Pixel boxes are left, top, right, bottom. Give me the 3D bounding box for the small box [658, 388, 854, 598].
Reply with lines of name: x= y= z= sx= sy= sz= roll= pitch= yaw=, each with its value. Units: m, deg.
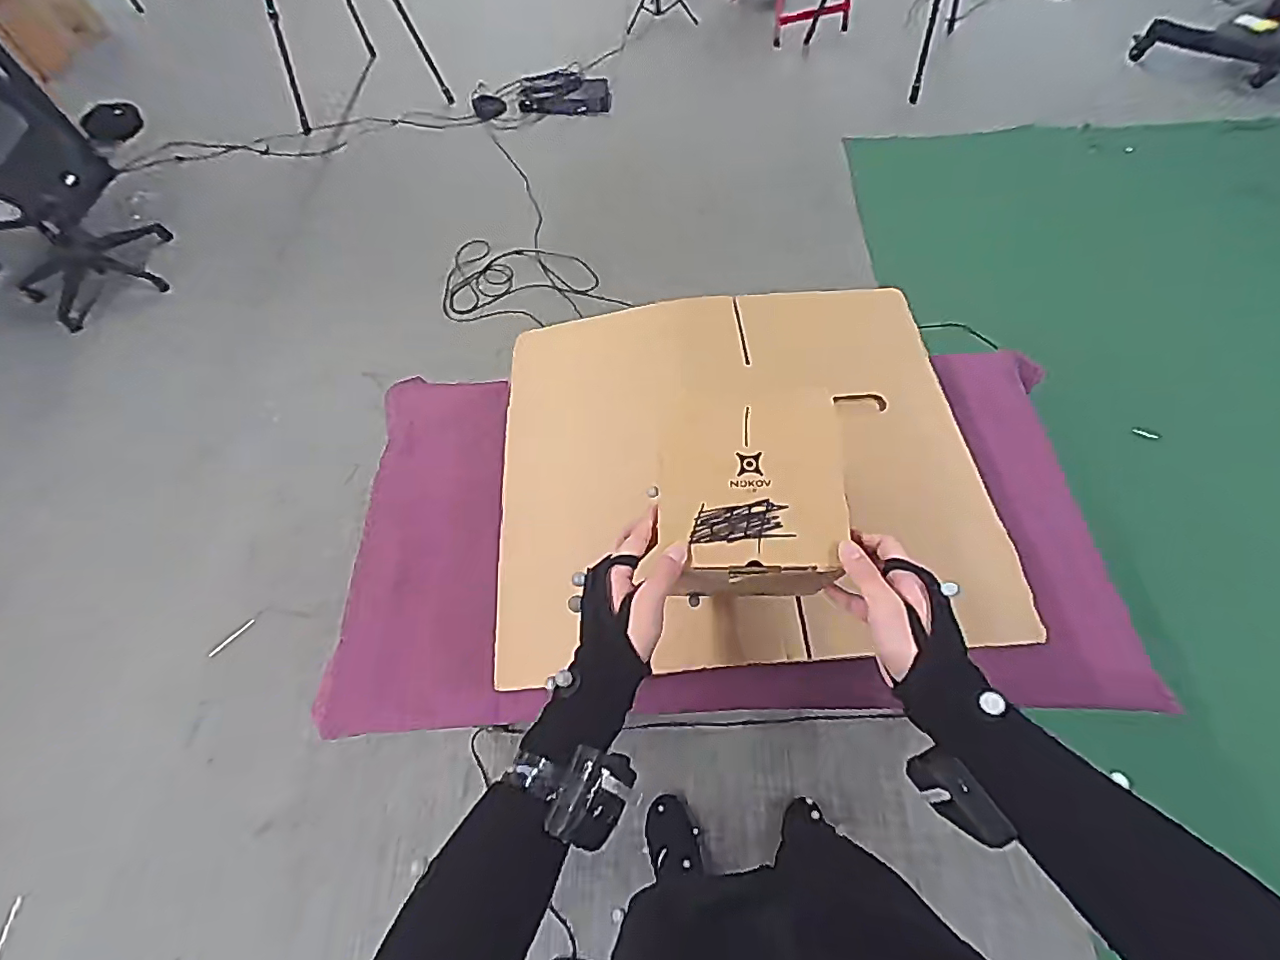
small box: x=0.106 y=0.024 z=0.556 sx=0.168 sy=0.176 sz=0.179 roll=-1 pitch=69 yaw=4
